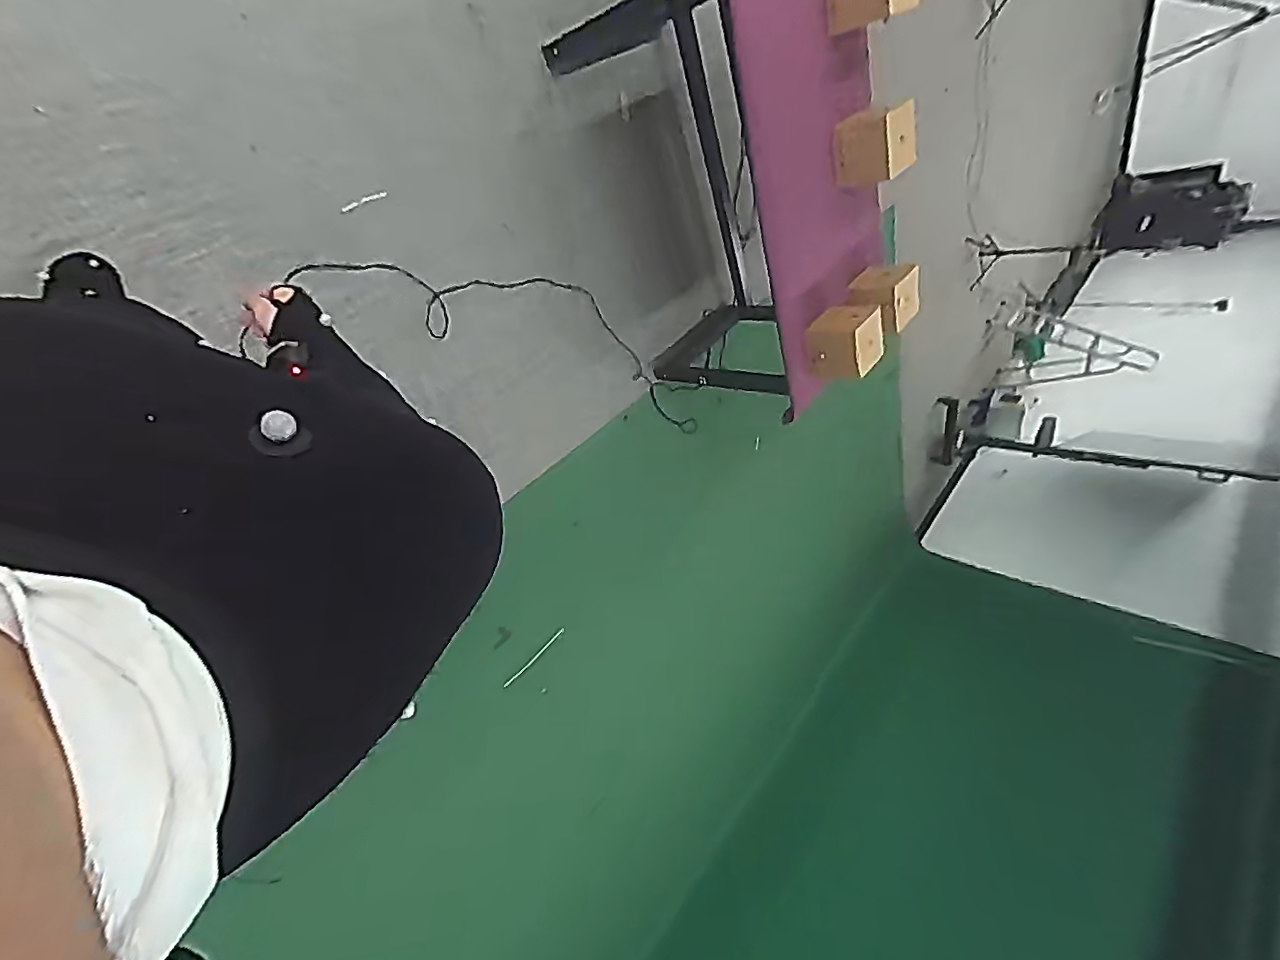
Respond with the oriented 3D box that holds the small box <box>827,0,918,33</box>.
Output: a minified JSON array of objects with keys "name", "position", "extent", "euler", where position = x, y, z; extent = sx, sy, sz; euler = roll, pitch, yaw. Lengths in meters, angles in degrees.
[{"name":"small box","position":[0.598,-1.294,1.401],"extent":[0.179,0.176,0.168],"euler":[-40,129,-28]}]

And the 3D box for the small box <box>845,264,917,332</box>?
[{"name":"small box","position":[0.825,-0.622,1.850],"extent":[0.179,0.176,0.168],"euler":[-43,129,-27]}]

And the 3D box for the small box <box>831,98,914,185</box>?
[{"name":"small box","position":[0.686,-0.993,1.593],"extent":[0.179,0.176,0.168],"euler":[-42,128,-27]}]

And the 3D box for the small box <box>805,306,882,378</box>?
[{"name":"small box","position":[0.651,-0.445,1.728],"extent":[0.179,0.176,0.168],"euler":[-42,127,-29]}]
